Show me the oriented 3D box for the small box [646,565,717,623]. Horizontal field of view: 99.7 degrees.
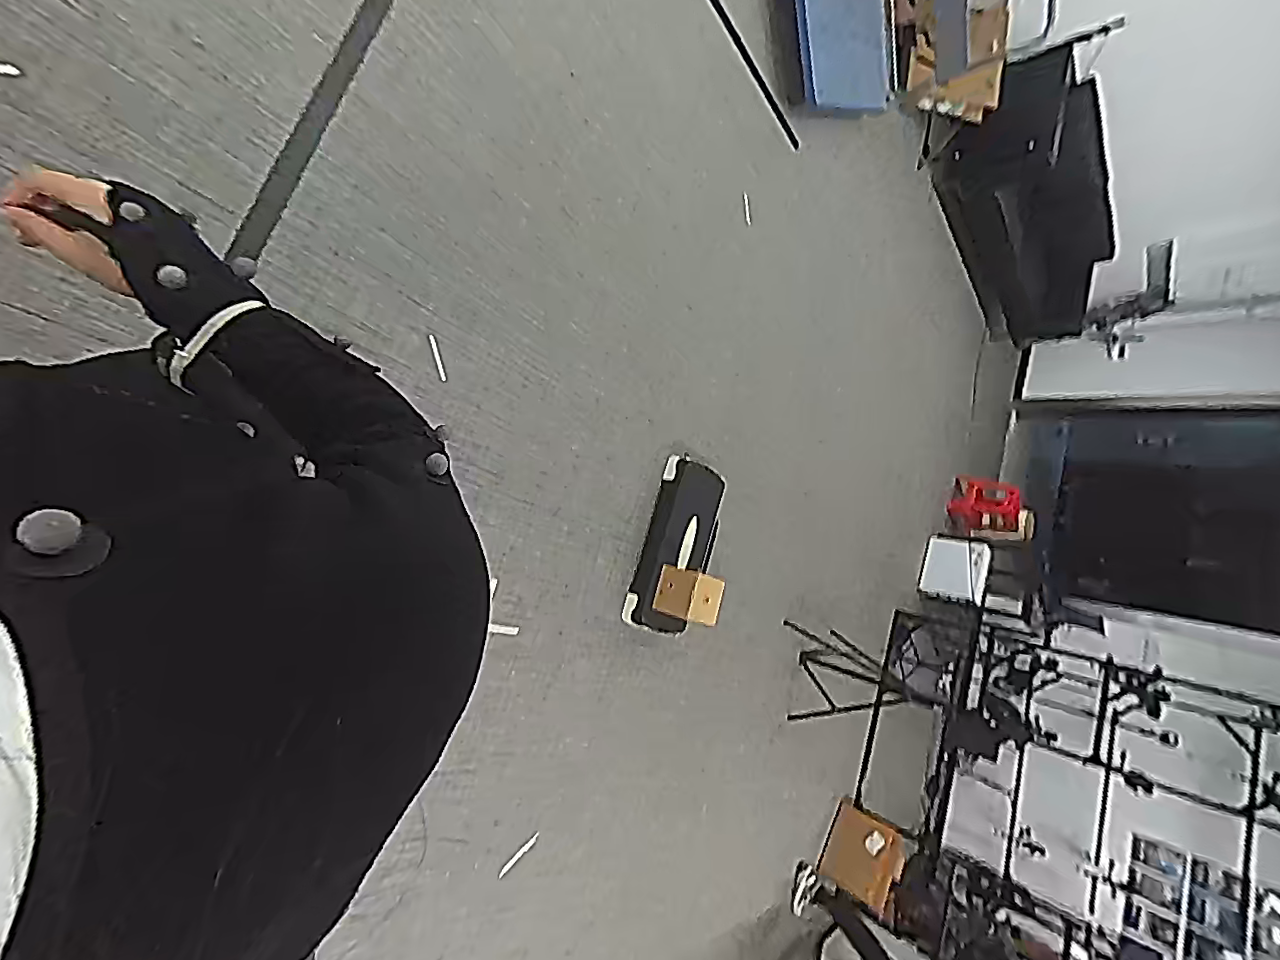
[{"bbox_3d":[0.151,0.417,1.992,0.179,0.176,0.168,25,77,-44],"label":"small box"}]
